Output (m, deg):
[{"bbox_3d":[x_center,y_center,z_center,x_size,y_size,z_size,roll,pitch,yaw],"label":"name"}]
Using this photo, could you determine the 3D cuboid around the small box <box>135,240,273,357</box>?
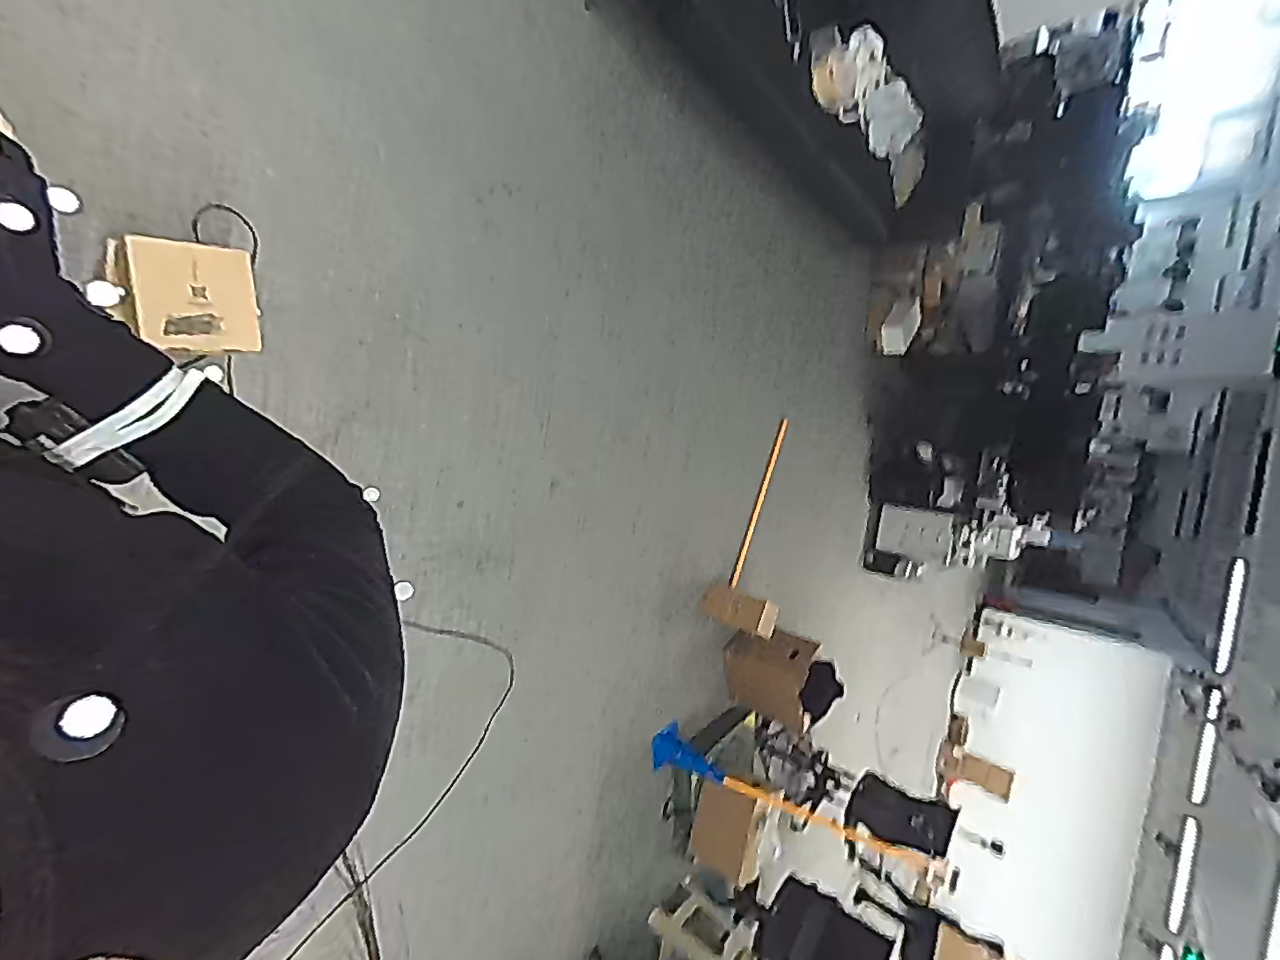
[{"bbox_3d":[-0.795,-0.317,0.986,0.168,0.176,0.179,-11,105,-46],"label":"small box"}]
